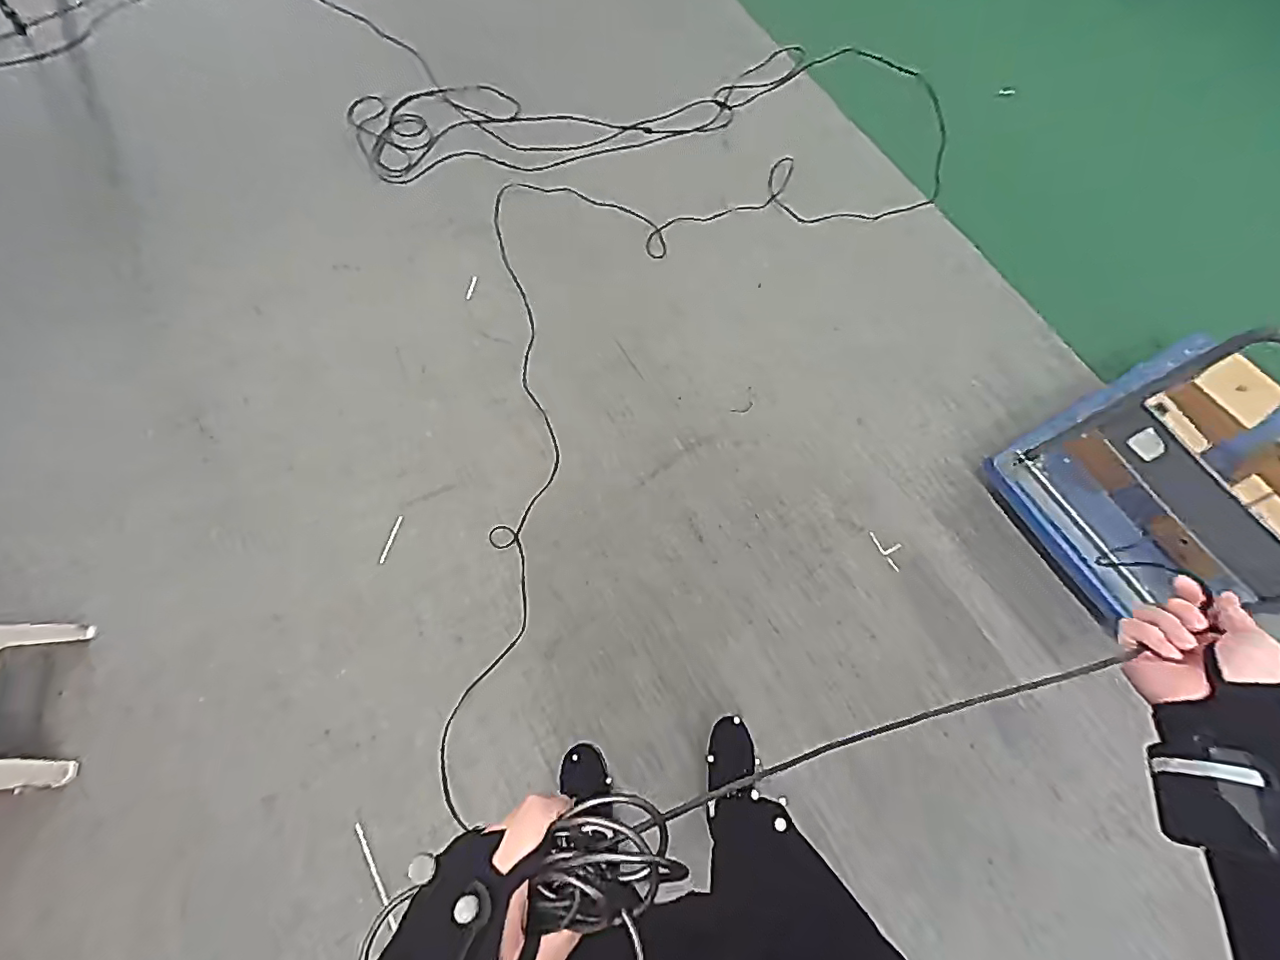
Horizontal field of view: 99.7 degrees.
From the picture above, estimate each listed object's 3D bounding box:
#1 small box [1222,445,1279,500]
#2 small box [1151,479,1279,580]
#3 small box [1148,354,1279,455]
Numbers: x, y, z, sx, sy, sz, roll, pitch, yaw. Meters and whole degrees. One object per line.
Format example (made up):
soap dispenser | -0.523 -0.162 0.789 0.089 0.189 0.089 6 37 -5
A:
small box | 1.666 0.004 1.369 0.179 0.176 0.168 -31 73 -11
small box | 1.430 0.126 1.321 0.179 0.176 0.168 -27 73 -9
small box | 1.527 -0.194 1.440 0.179 0.176 0.168 -31 74 -12
